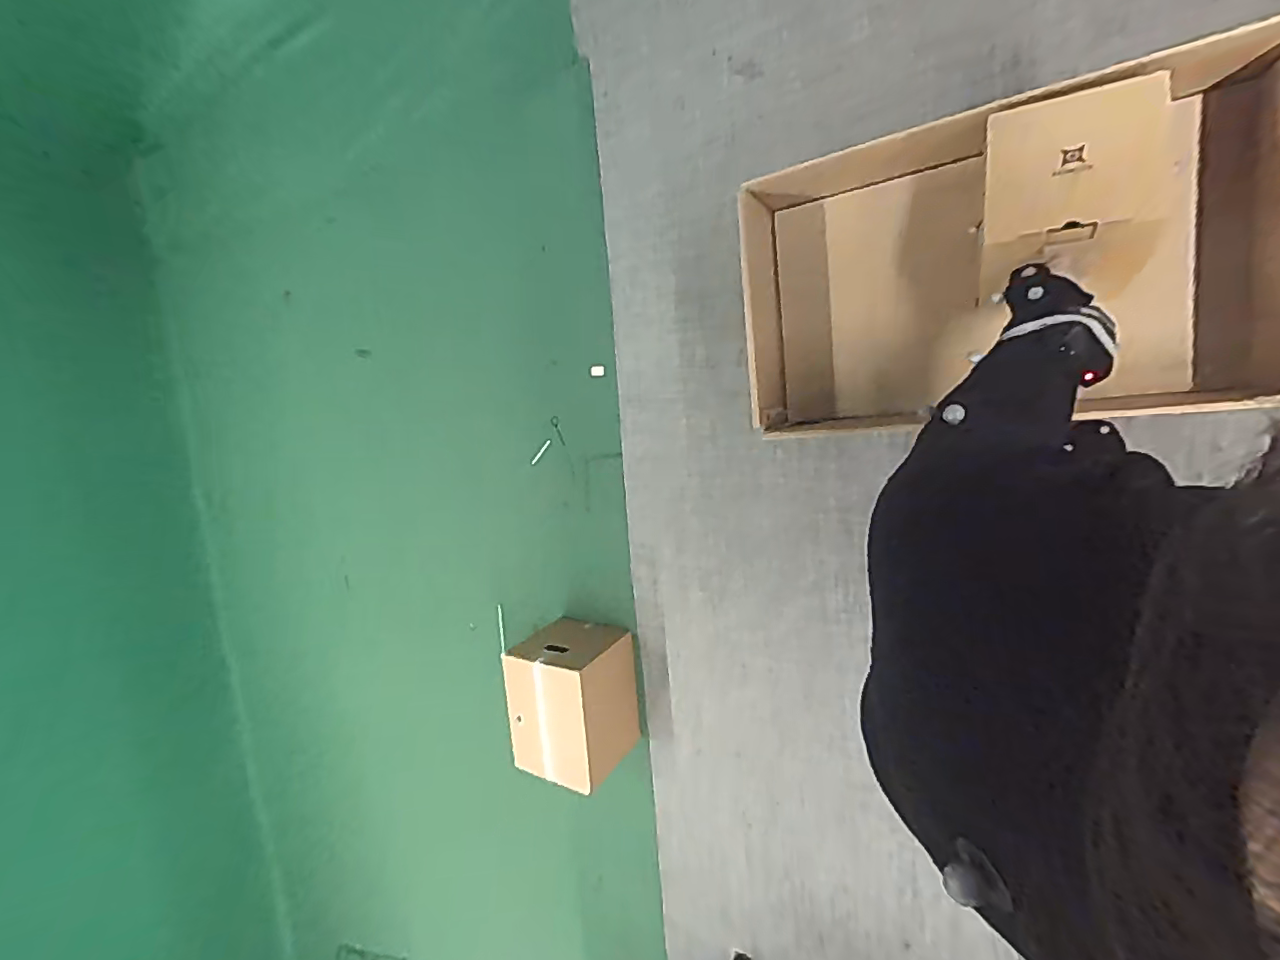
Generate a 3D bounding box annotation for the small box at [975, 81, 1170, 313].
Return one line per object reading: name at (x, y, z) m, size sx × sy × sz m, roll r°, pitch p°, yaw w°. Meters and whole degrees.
small box at (0.522, -0.334, 0.675) m, size 0.168 × 0.176 × 0.179 m, roll 3°, pitch 77°, yaw 31°
